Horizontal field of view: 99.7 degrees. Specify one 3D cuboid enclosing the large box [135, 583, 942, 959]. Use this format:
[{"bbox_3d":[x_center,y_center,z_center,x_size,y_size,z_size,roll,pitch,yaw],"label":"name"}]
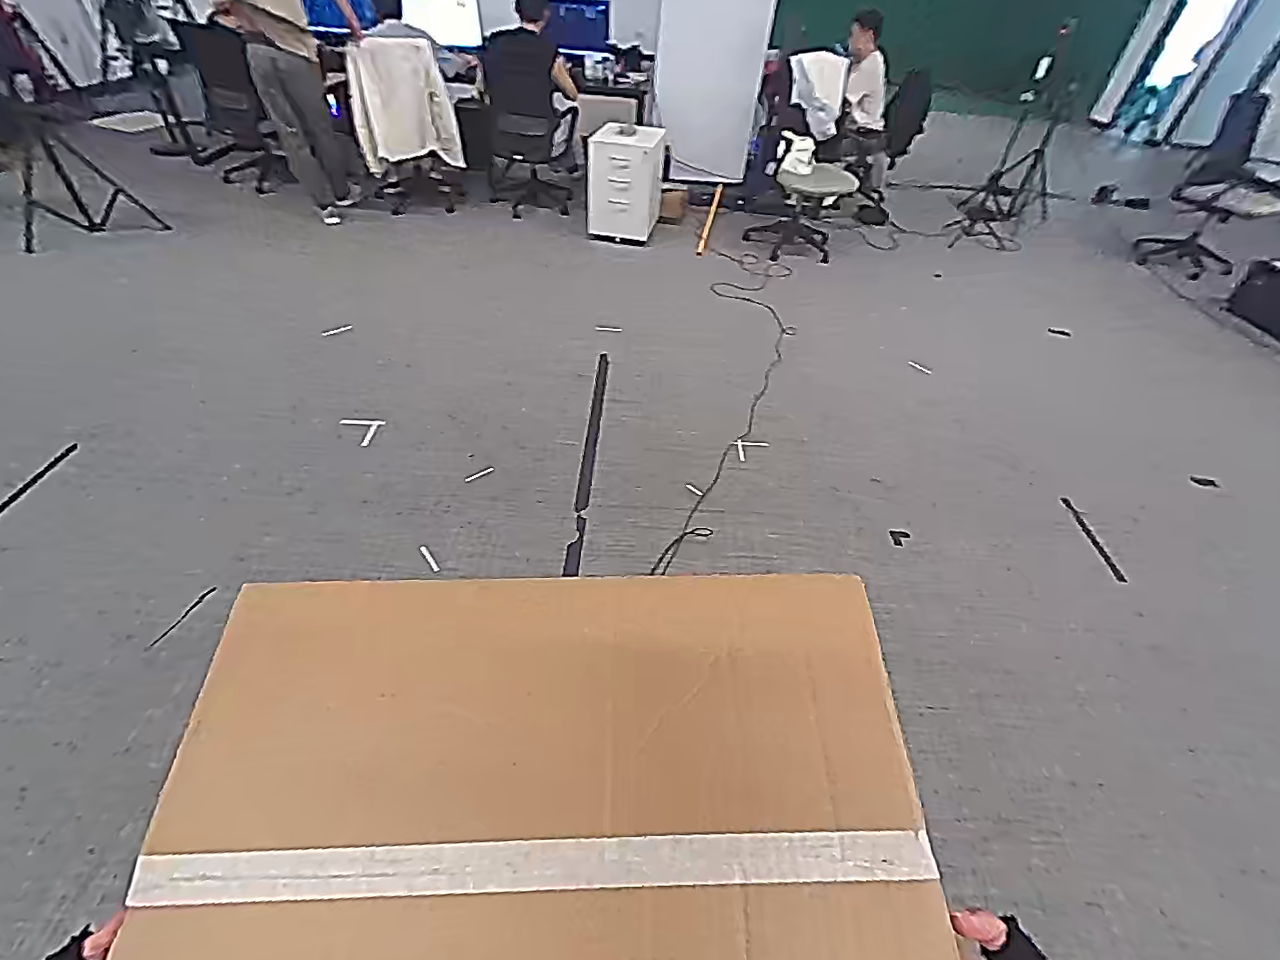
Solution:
[{"bbox_3d":[-0.051,0.282,0.413,0.408,0.320,0.320,0,59,-1],"label":"large box"}]
